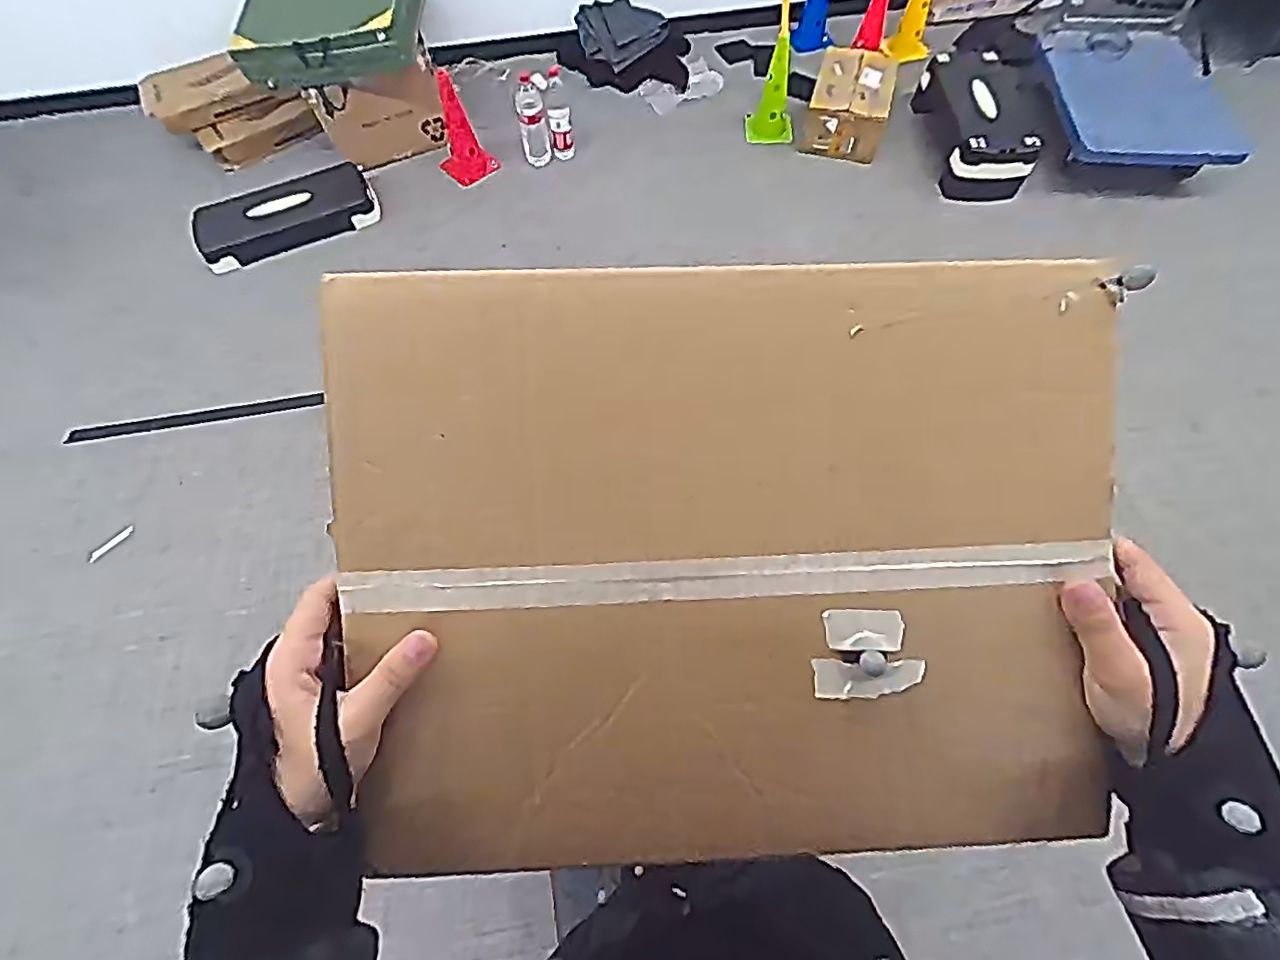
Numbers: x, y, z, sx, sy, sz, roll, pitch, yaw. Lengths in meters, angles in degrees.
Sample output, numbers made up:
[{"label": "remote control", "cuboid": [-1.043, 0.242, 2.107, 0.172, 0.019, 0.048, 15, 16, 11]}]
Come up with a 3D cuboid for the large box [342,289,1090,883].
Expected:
[{"label": "large box", "cuboid": [0.041, 0.049, 0.443, 0.408, 0.320, 0.320, -2, 95, -3]}]
